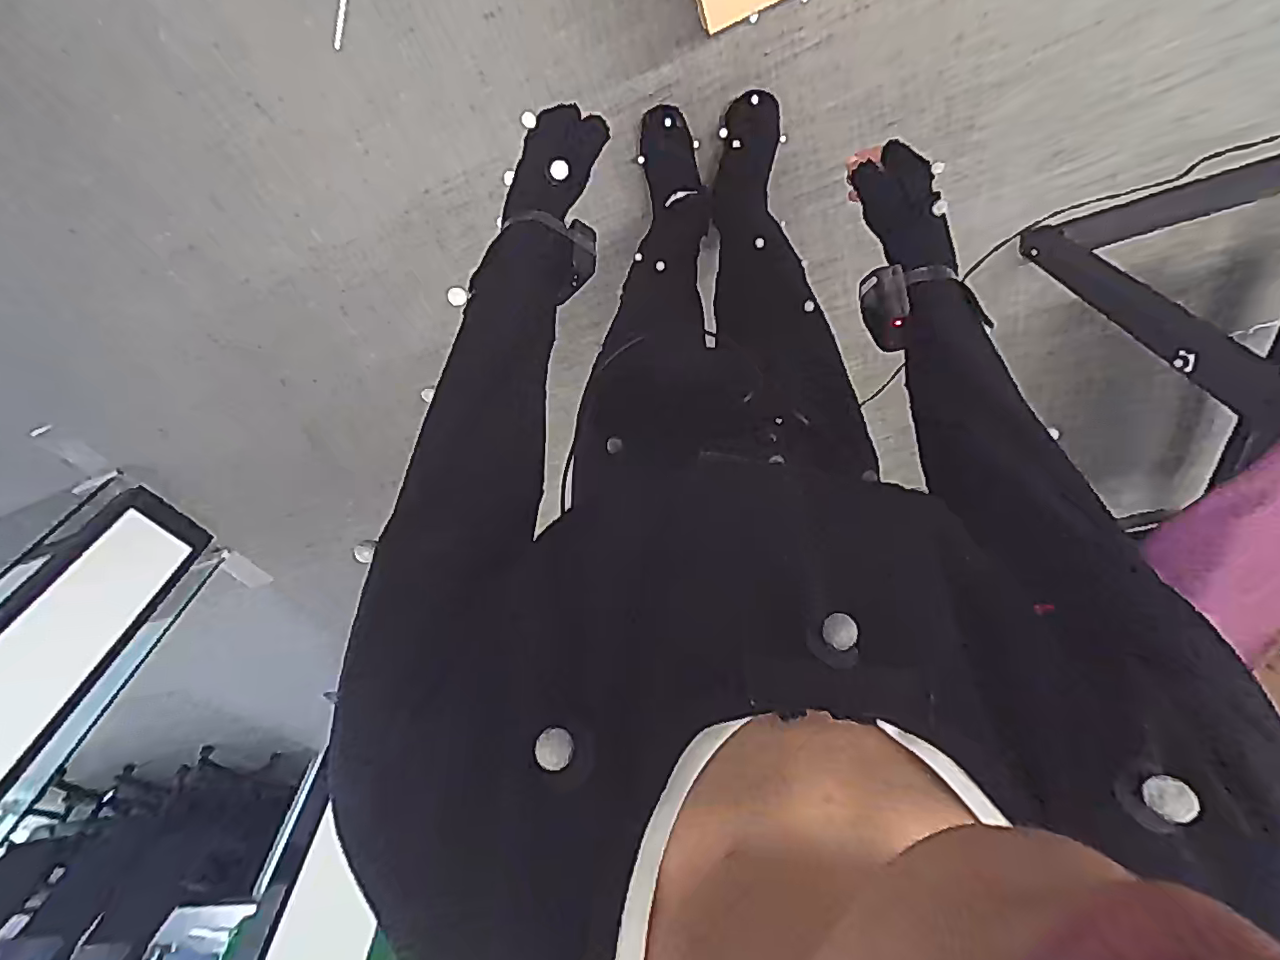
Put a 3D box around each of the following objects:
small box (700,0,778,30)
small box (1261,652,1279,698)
[{"bbox_3d":[0.153,-0.742,0.725,0.179,0.176,0.168,-16,129,16],"label":"small box"},{"bbox_3d":[1.216,0.346,0.892,0.179,0.176,0.168,-13,130,14],"label":"small box"}]
